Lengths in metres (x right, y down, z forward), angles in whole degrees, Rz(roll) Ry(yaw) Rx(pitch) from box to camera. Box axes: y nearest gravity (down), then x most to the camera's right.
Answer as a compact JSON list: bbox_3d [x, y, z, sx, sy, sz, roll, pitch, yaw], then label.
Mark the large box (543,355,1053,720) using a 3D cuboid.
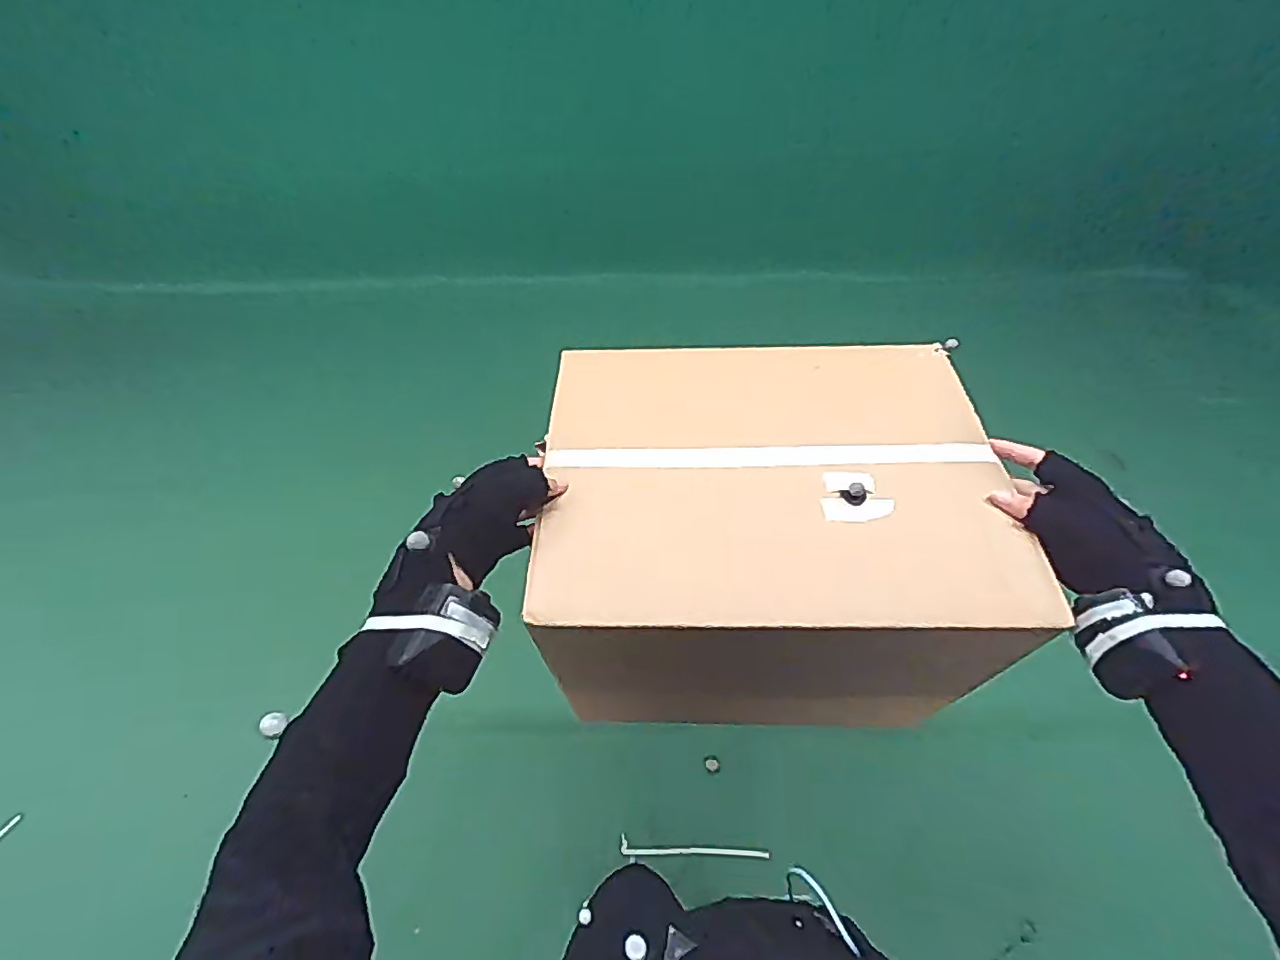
[{"bbox_3d":[0.124,0.076,0.624,0.408,0.320,0.320,0,53,2],"label":"large box"}]
